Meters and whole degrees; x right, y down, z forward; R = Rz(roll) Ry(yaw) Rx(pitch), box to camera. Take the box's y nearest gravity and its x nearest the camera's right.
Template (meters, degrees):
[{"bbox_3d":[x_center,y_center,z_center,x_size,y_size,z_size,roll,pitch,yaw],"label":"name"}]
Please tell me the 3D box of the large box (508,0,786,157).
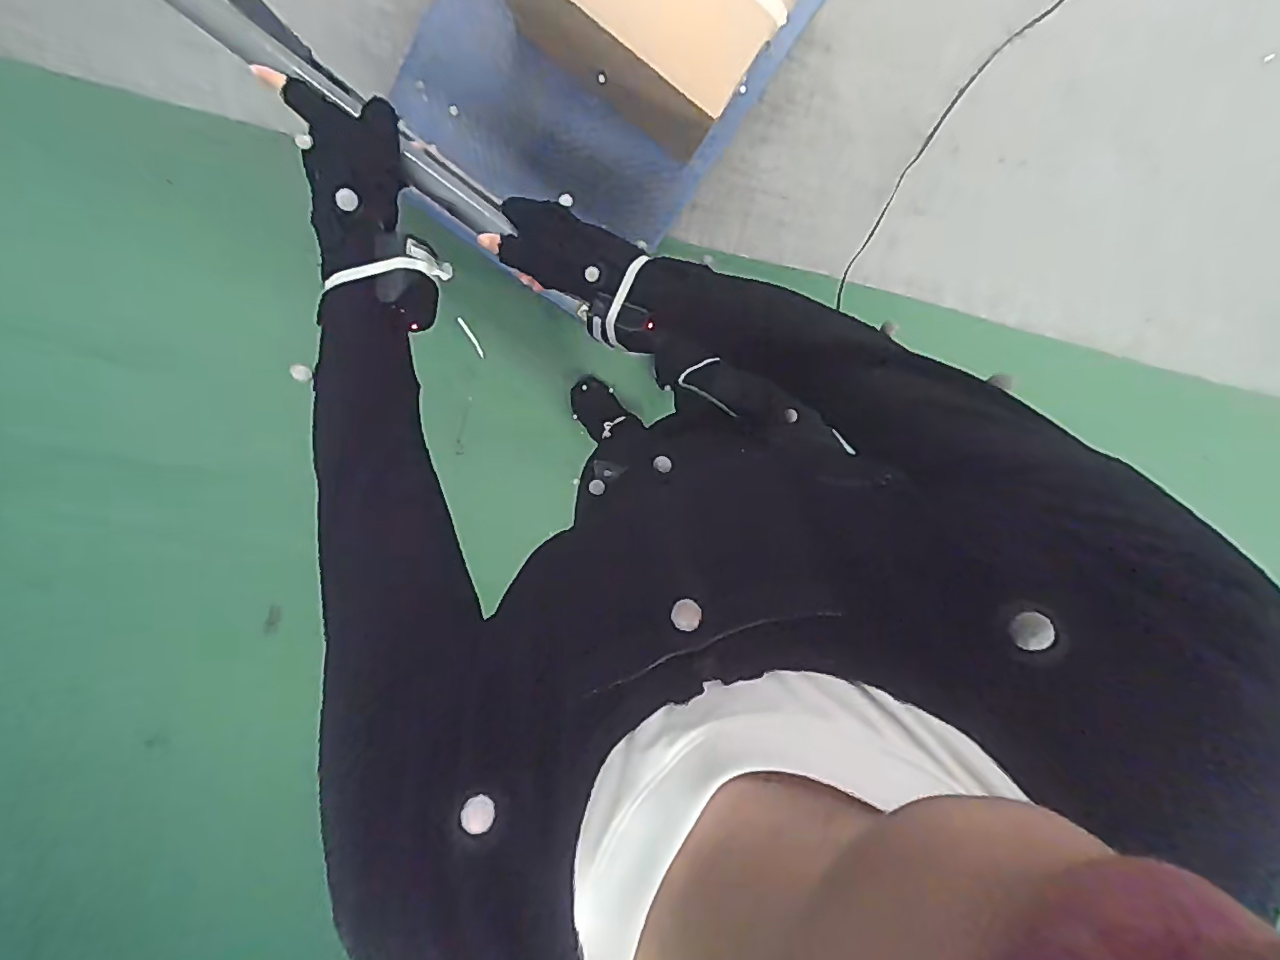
[{"bbox_3d":[0.022,-0.817,0.876,0.408,0.320,0.320,32,104,-12],"label":"large box"}]
